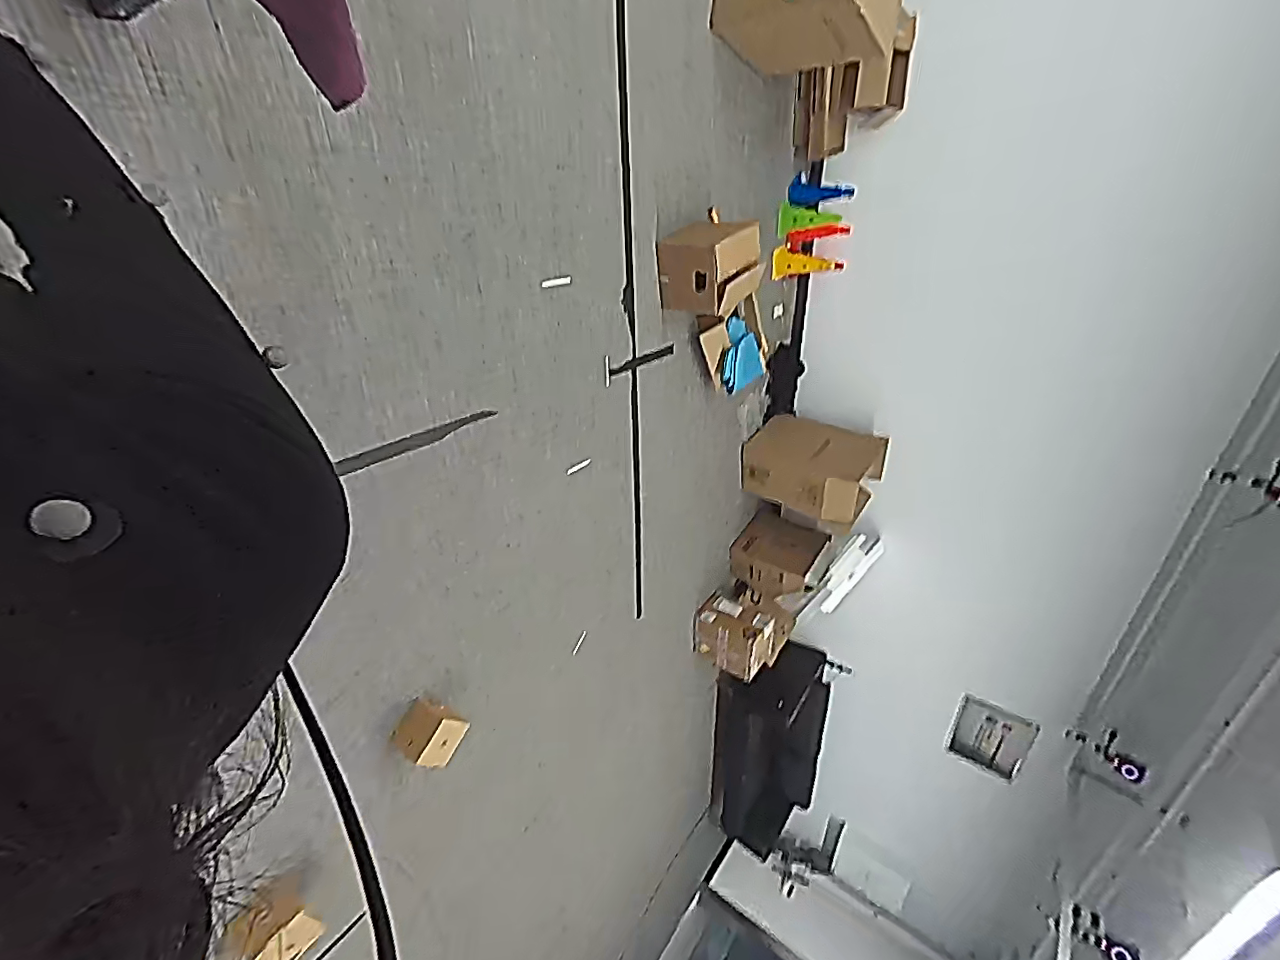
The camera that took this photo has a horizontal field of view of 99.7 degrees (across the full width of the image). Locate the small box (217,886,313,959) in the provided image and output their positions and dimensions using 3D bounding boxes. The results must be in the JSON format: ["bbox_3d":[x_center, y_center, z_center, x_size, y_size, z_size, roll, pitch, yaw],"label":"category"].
[{"bbox_3d":[-1.190,1.441,1.714,0.168,0.176,0.179,-40,135,-40],"label":"small box"}]

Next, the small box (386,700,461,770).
[{"bbox_3d":[-0.820,0.958,2.032,0.179,0.176,0.168,-61,148,-17],"label":"small box"}]
